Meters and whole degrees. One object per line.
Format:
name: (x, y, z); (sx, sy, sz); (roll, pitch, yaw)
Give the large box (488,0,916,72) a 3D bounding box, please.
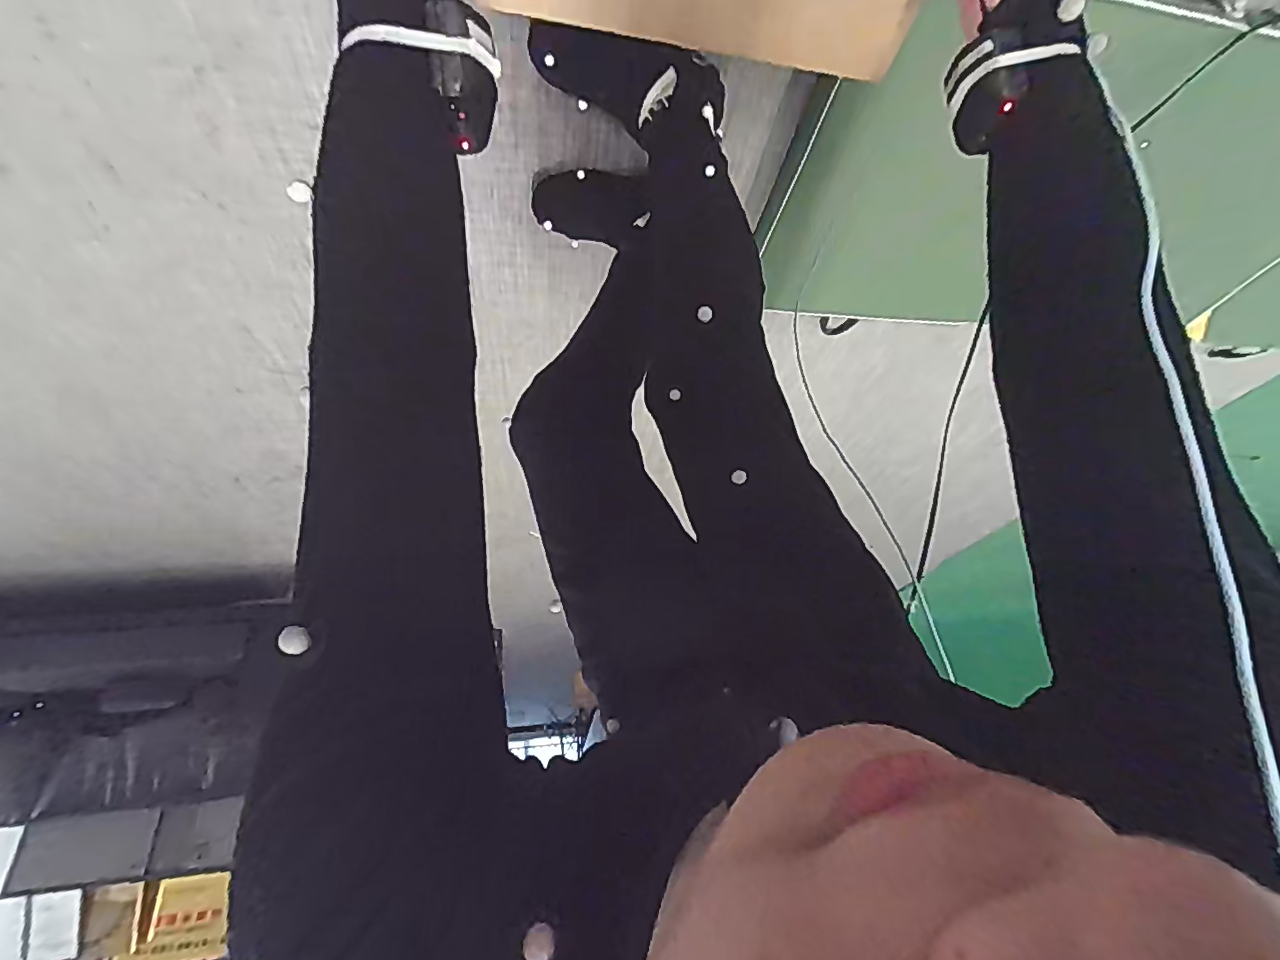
large box: (0.067, -0.627, 0.464); (0.408, 0.320, 0.320); (1, 152, -12)
